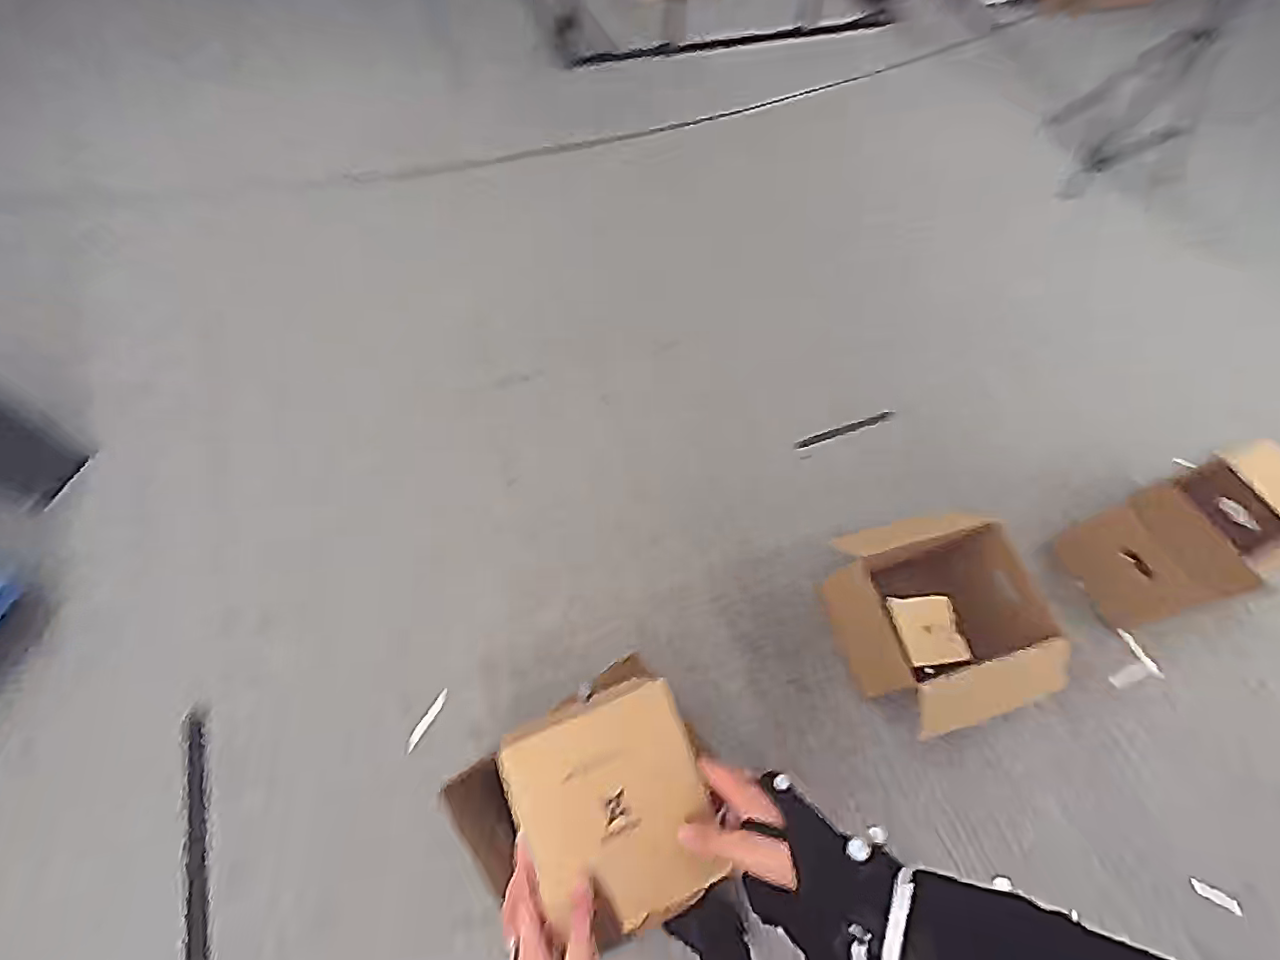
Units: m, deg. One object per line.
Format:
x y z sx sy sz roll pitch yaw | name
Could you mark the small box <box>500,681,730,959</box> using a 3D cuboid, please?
-0.035 0.320 0.554 0.168 0.176 0.179 -17 75 -17 | small box
